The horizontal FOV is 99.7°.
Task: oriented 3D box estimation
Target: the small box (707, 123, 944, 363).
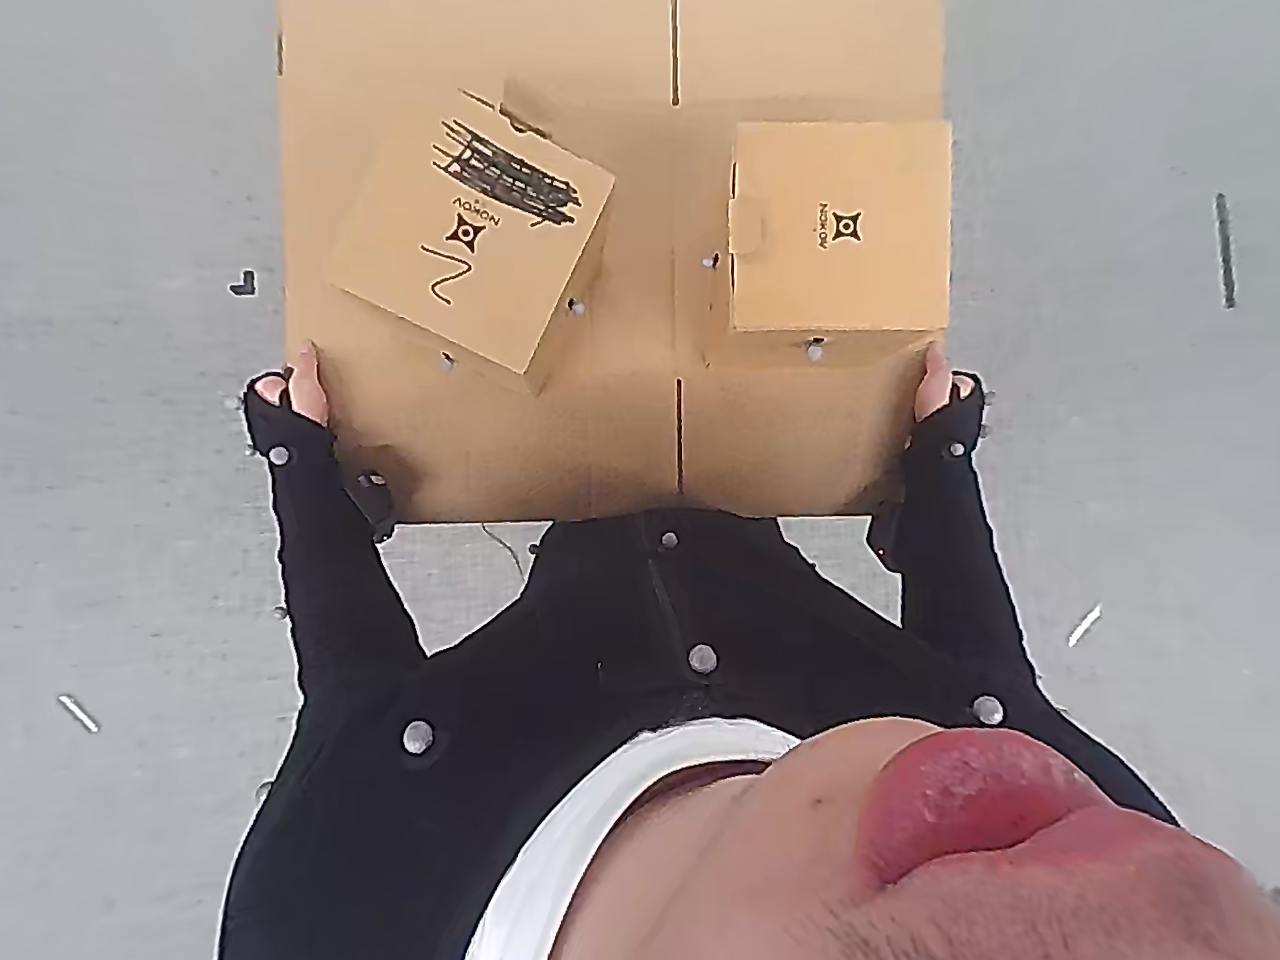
[{"bbox_3d":[0.164,-0.214,0.528,0.179,0.176,0.168,0,91,1],"label":"small box"}]
